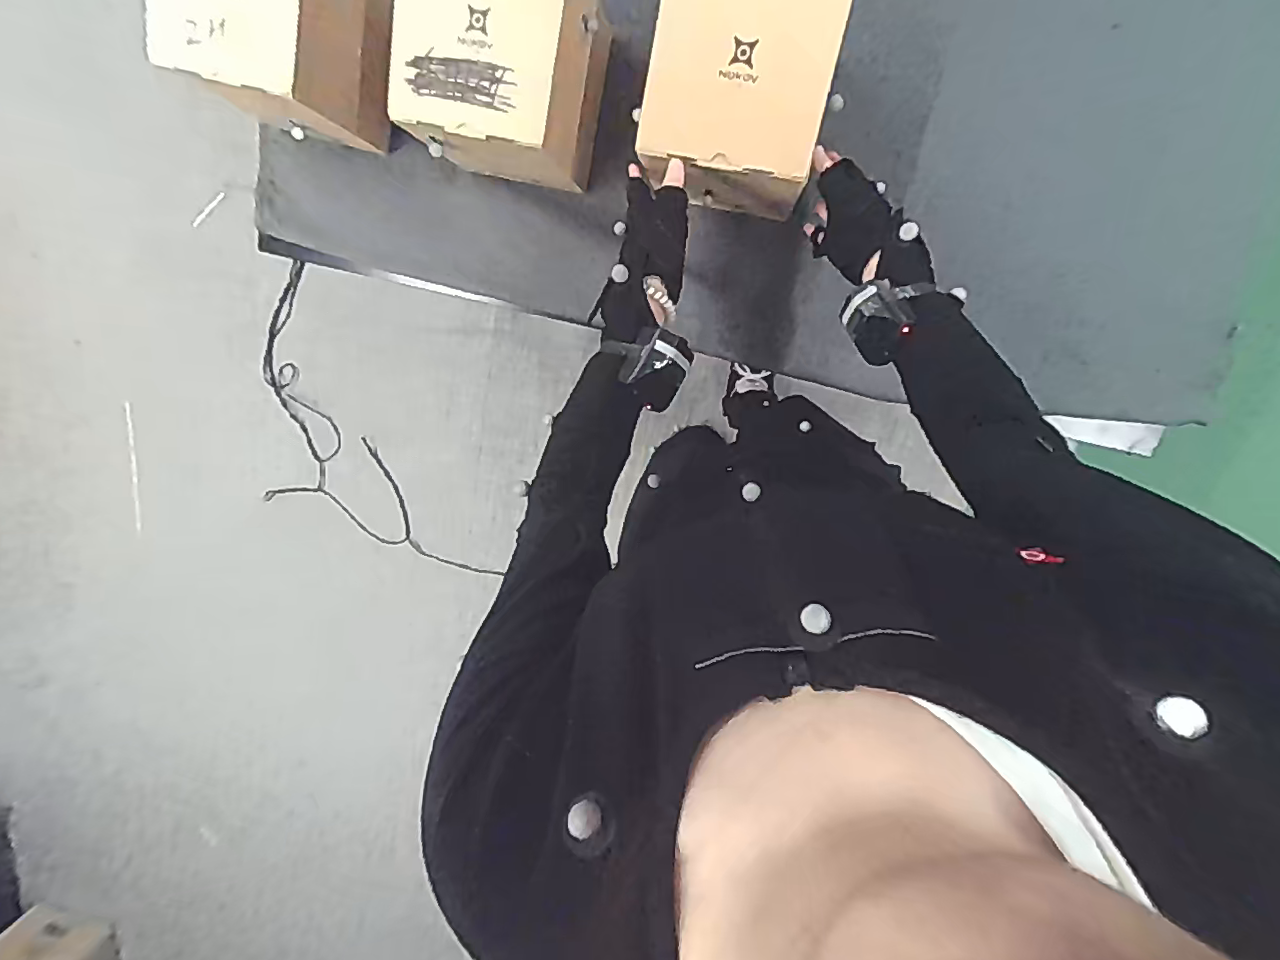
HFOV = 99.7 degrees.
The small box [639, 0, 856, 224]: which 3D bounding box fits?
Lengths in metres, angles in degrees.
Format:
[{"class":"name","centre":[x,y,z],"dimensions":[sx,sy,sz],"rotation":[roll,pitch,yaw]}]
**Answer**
[{"class":"small box","centre":[0.104,-0.389,0.562],"dimensions":[0.168,0.176,0.179],"rotation":[13,106,6]}]

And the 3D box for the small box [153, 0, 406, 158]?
[{"class":"small box","centre":[-0.389,-0.501,0.609],"dimensions":[0.168,0.176,0.179],"rotation":[17,105,5]}]
